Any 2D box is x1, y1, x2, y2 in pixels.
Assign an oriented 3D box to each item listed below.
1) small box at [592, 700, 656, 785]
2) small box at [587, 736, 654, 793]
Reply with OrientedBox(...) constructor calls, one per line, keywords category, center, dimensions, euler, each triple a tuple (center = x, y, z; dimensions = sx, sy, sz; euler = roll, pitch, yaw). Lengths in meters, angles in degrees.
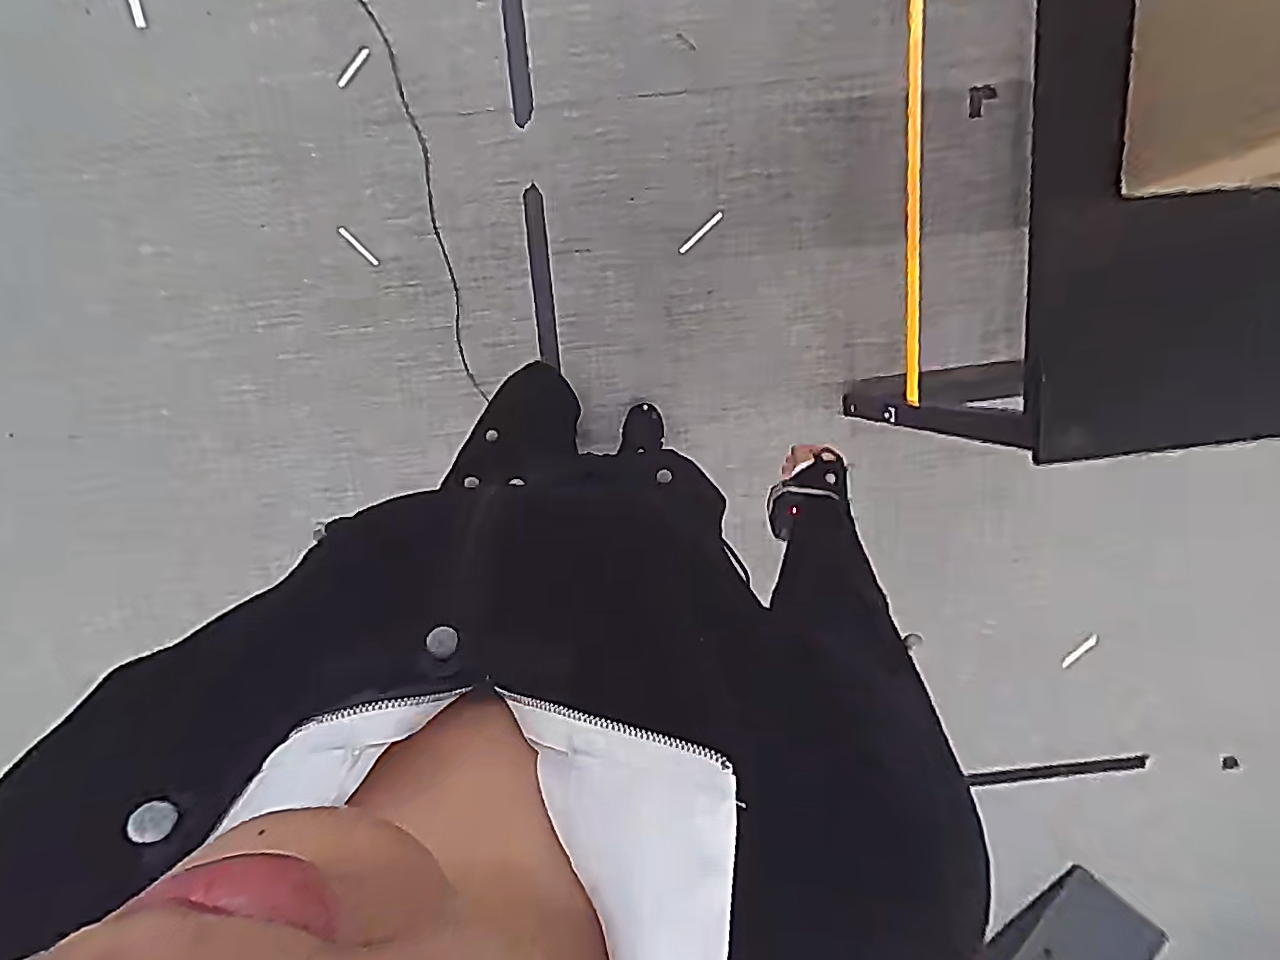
OrientedBox(category="small box", center=(-0.047, 0.758, 1.565), dimensions=(0.179, 0.176, 0.168), euler=(-2, 101, -1))
OrientedBox(category="small box", center=(-0.049, 0.796, 1.405), dimensions=(0.168, 0.176, 0.179), euler=(-2, 101, -2))
